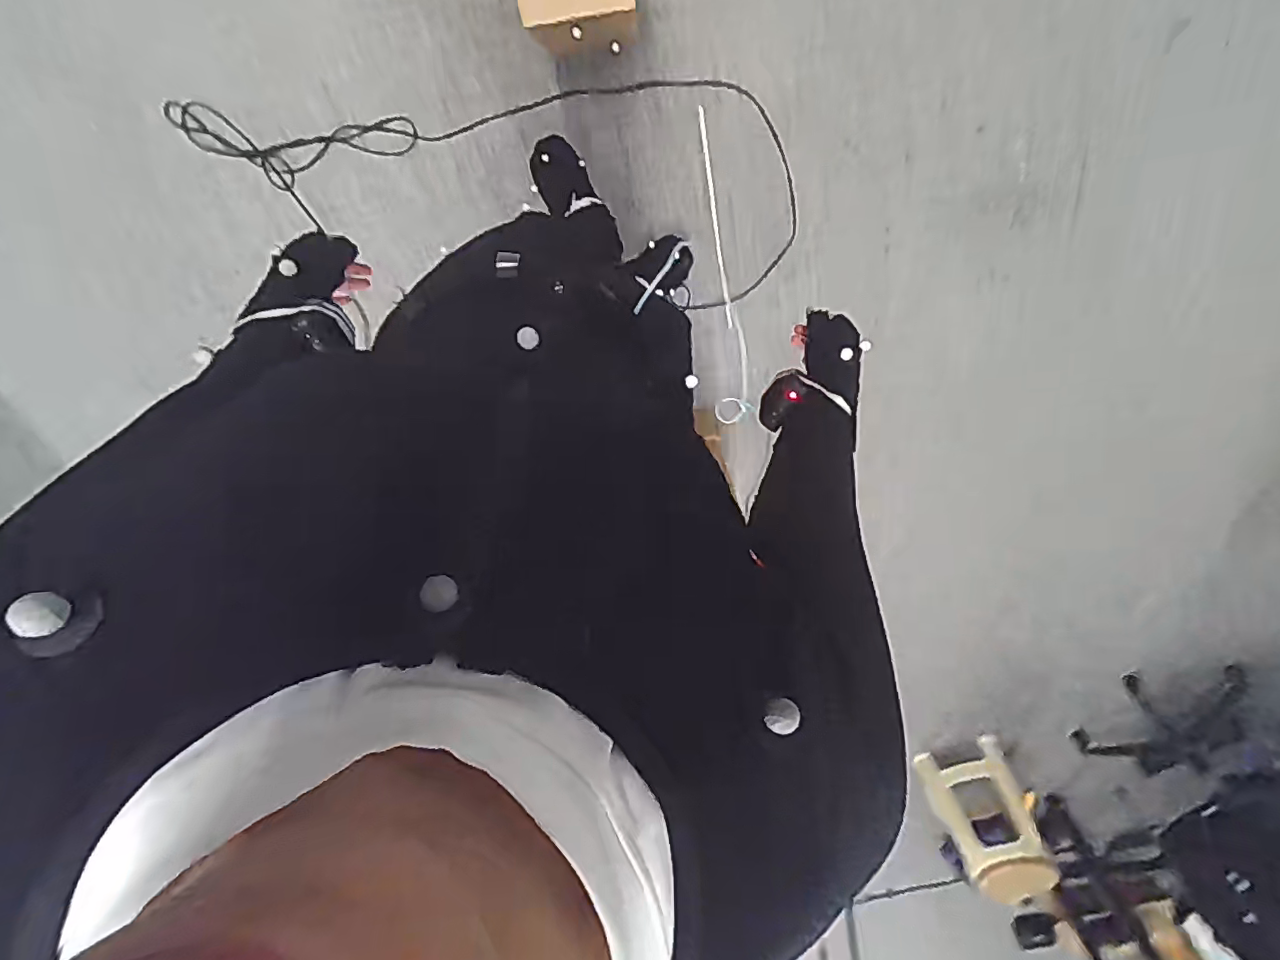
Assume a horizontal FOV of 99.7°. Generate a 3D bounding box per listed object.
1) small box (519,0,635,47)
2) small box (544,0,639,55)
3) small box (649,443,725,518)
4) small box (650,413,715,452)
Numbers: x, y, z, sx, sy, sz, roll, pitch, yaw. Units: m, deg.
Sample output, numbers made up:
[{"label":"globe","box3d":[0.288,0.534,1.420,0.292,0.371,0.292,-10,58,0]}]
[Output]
[{"label":"small box","box3d":[-0.101,-0.807,0.849,0.179,0.176,0.168,-7,121,3]},{"label":"small box","box3d":[-0.096,-0.887,0.974,0.179,0.176,0.168,-4,121,3]},{"label":"small box","box3d":[0.120,0.021,1.351,0.179,0.176,0.168,-7,122,5]},{"label":"small box","box3d":[0.119,-0.072,1.487,0.168,0.176,0.179,-8,121,5]}]
